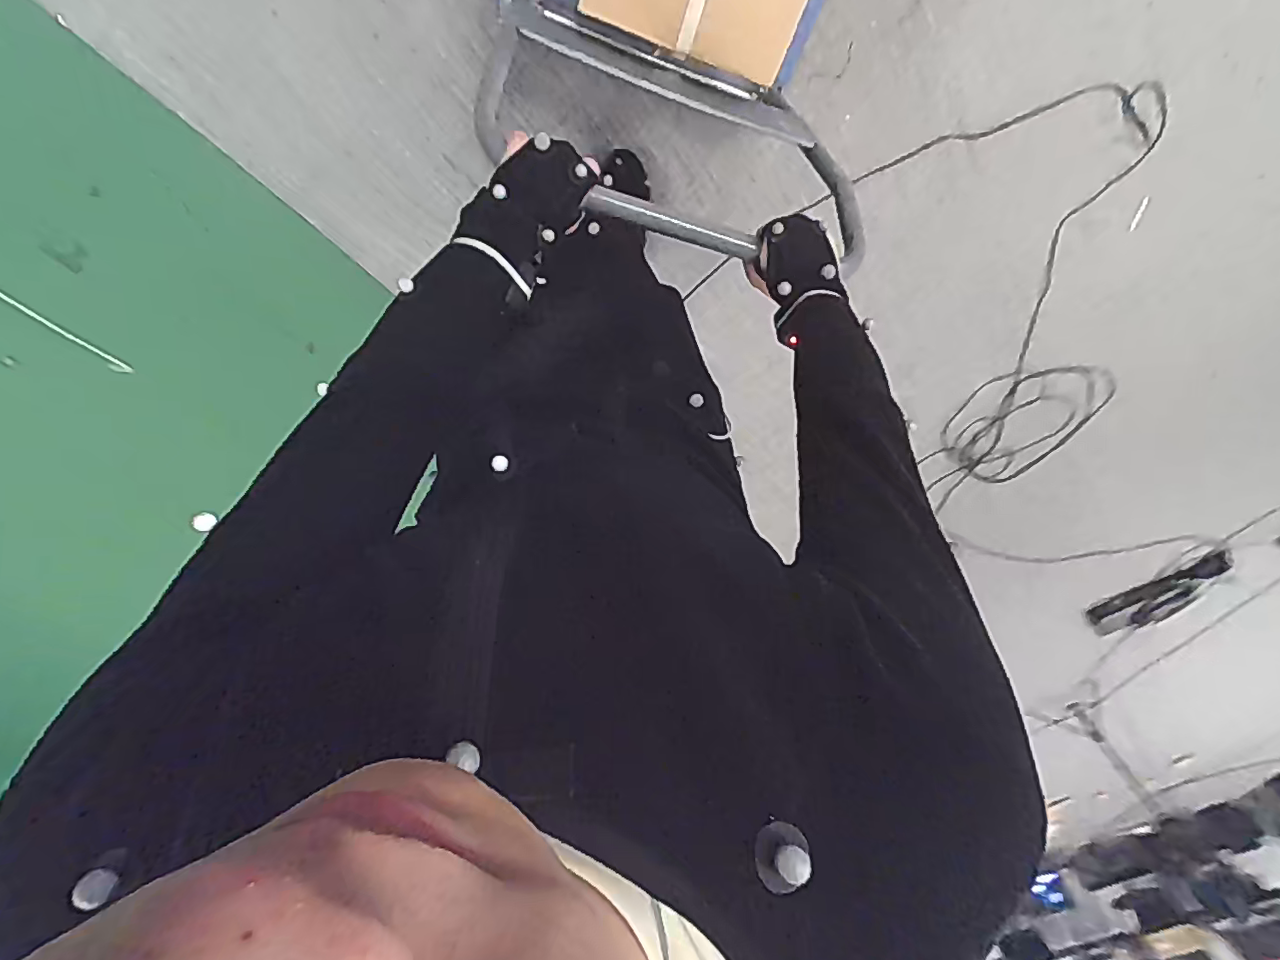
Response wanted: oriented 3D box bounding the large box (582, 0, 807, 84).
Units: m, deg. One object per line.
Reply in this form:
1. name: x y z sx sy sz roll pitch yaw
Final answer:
1. large box: 0.110 -0.877 0.774 0.320 0.320 0.408 10 134 -16
